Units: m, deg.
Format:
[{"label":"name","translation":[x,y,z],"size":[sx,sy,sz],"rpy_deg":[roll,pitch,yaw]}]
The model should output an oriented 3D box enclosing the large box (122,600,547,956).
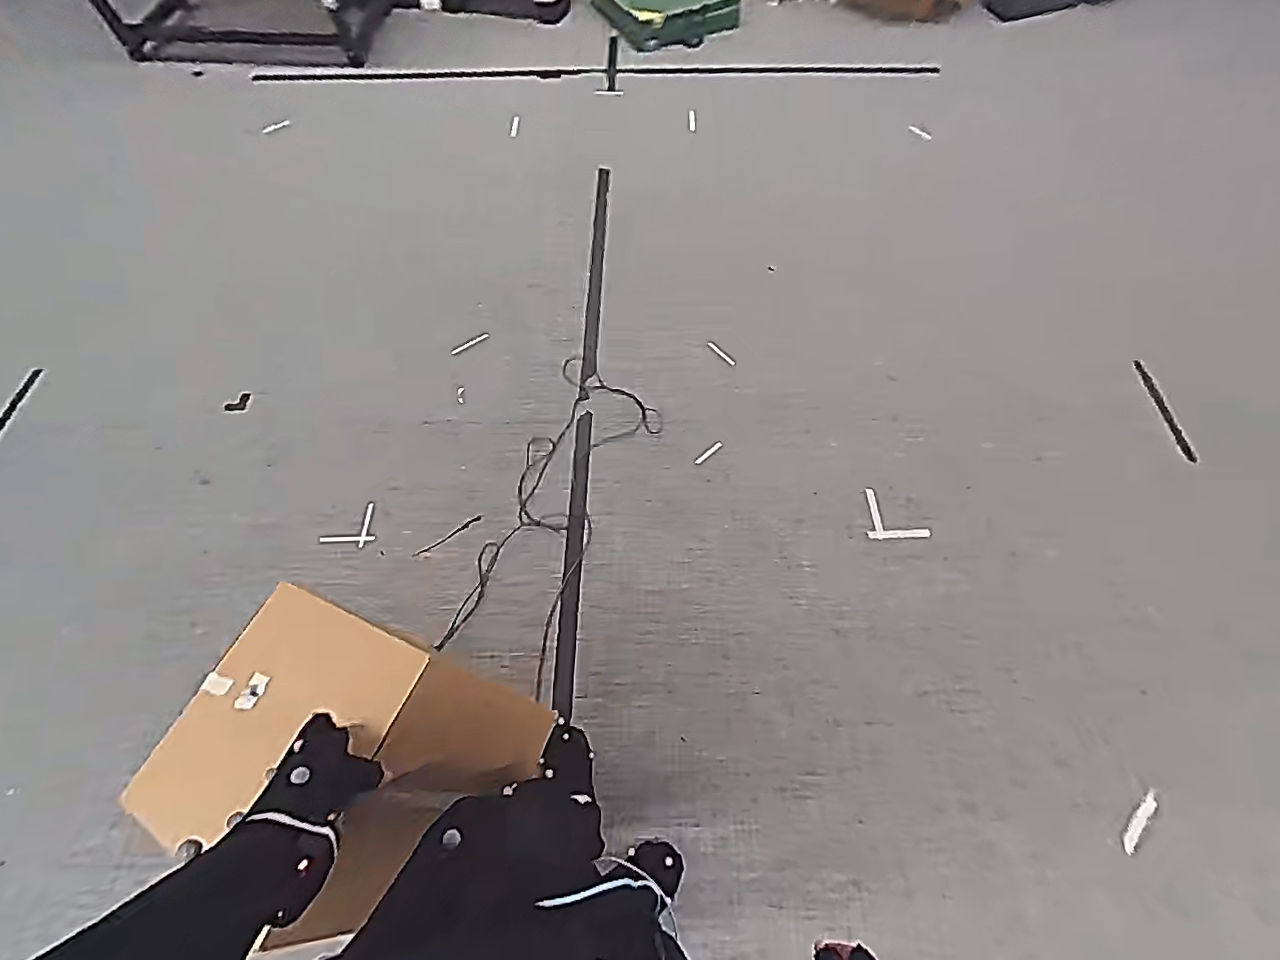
[{"label":"large box","translation":[-0.413,0.424,0.830],"size":[0.320,0.408,0.320],"rpy_deg":[15,64,25]}]
